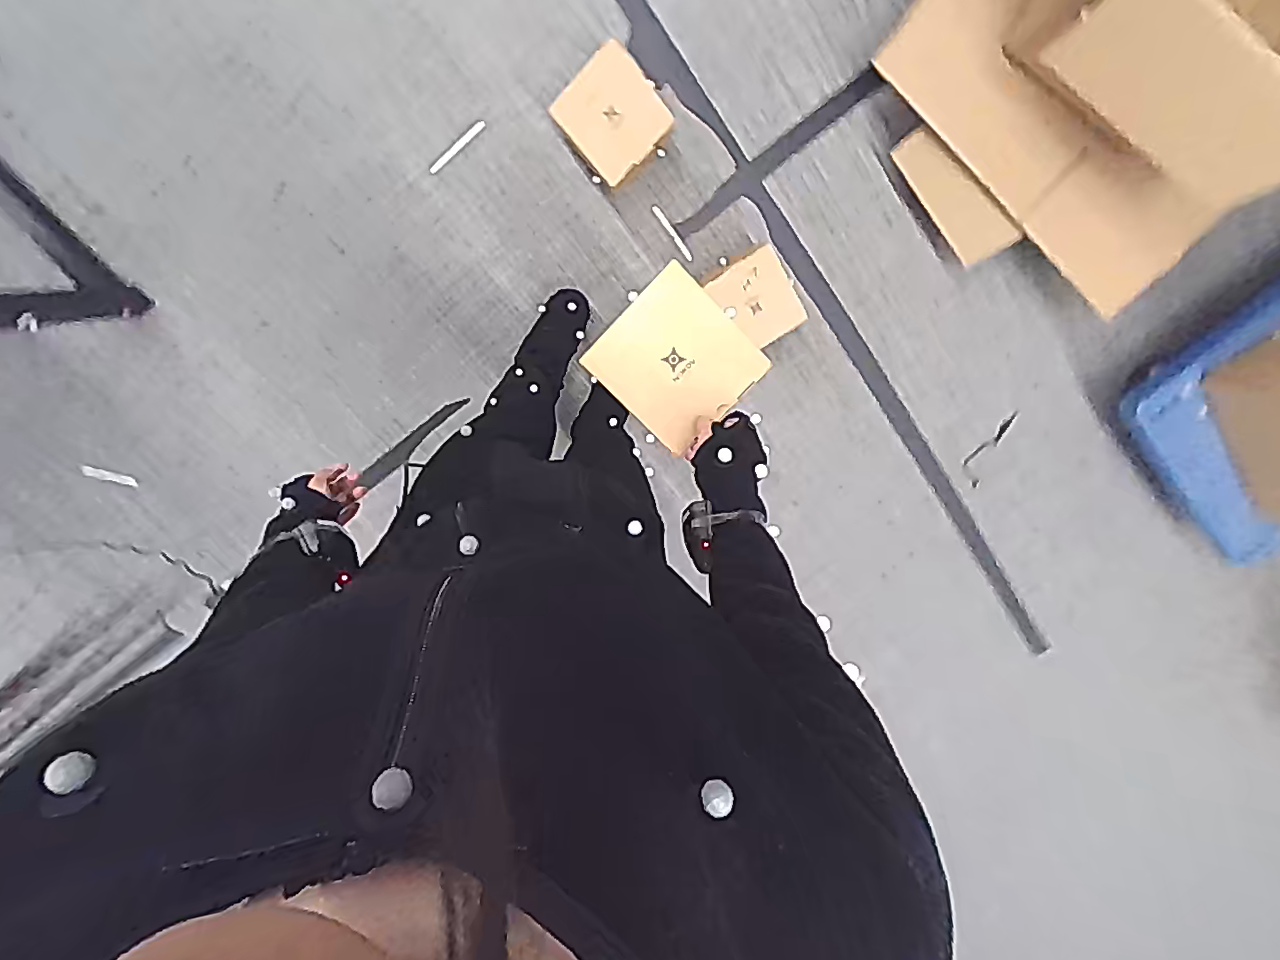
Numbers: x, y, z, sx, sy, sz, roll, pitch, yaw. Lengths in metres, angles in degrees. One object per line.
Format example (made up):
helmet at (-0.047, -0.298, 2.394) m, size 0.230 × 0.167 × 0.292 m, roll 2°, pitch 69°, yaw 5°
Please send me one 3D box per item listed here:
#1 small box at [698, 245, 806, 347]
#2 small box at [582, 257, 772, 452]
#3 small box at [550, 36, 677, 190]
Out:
small box at (0.233, -0.393, 1.184) m, size 0.168 × 0.176 × 0.179 m, roll -31°, pitch 109°, yaw 11°
small box at (0.043, -0.164, 0.730) m, size 0.179 × 0.176 × 0.168 m, roll 43°, pitch 100°, yaw -11°
small box at (-0.047, -0.699, 1.061) m, size 0.168 × 0.176 × 0.179 m, roll -41°, pitch 105°, yaw 14°
